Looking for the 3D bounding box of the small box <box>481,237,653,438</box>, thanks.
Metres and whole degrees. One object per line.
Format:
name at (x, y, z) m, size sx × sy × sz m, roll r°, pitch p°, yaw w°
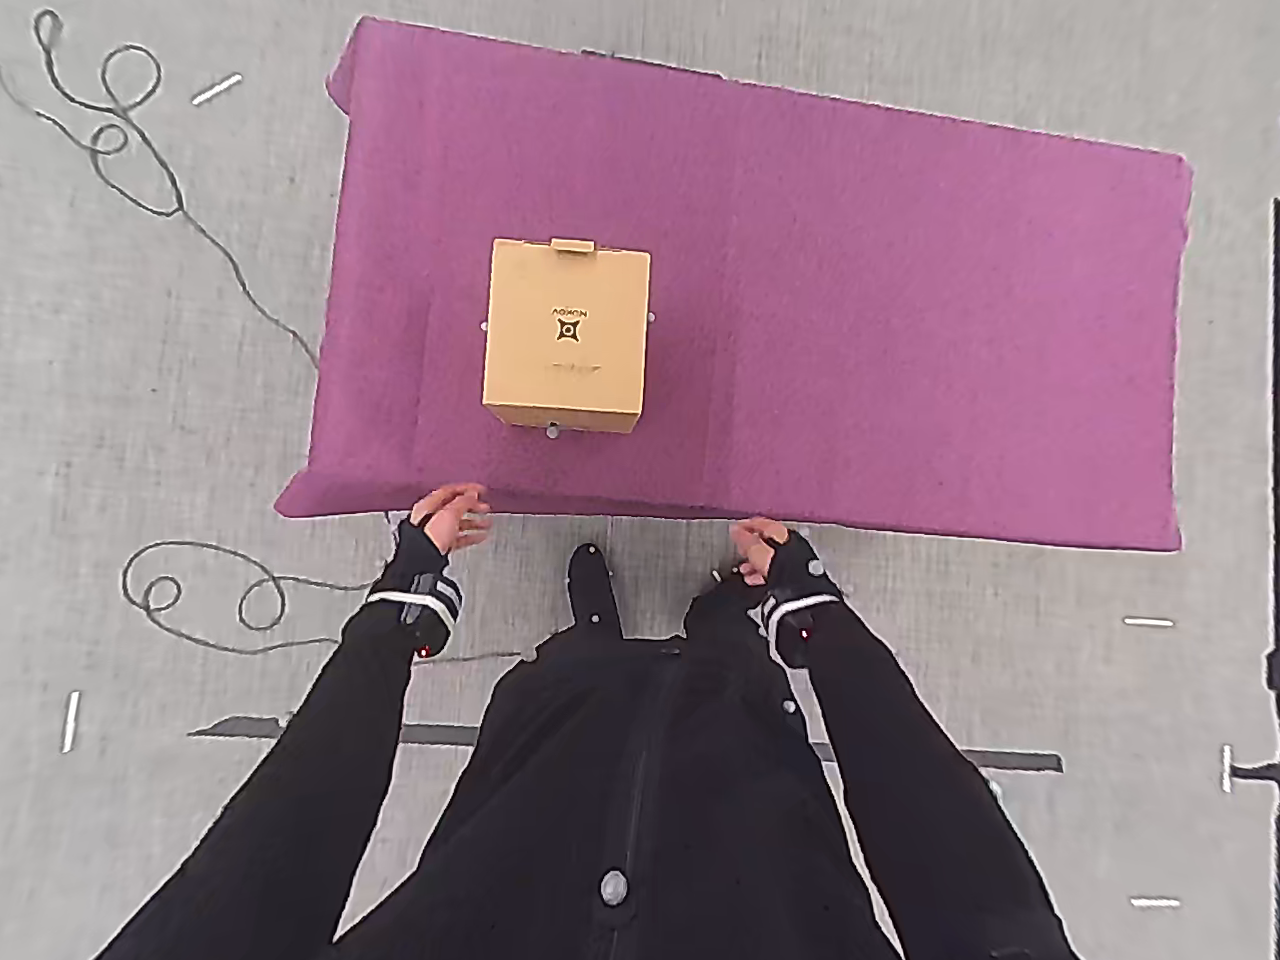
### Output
small box at (-0.082, -0.152, 0.635) m, size 0.168 × 0.176 × 0.179 m, roll 4°, pitch 87°, yaw -5°
